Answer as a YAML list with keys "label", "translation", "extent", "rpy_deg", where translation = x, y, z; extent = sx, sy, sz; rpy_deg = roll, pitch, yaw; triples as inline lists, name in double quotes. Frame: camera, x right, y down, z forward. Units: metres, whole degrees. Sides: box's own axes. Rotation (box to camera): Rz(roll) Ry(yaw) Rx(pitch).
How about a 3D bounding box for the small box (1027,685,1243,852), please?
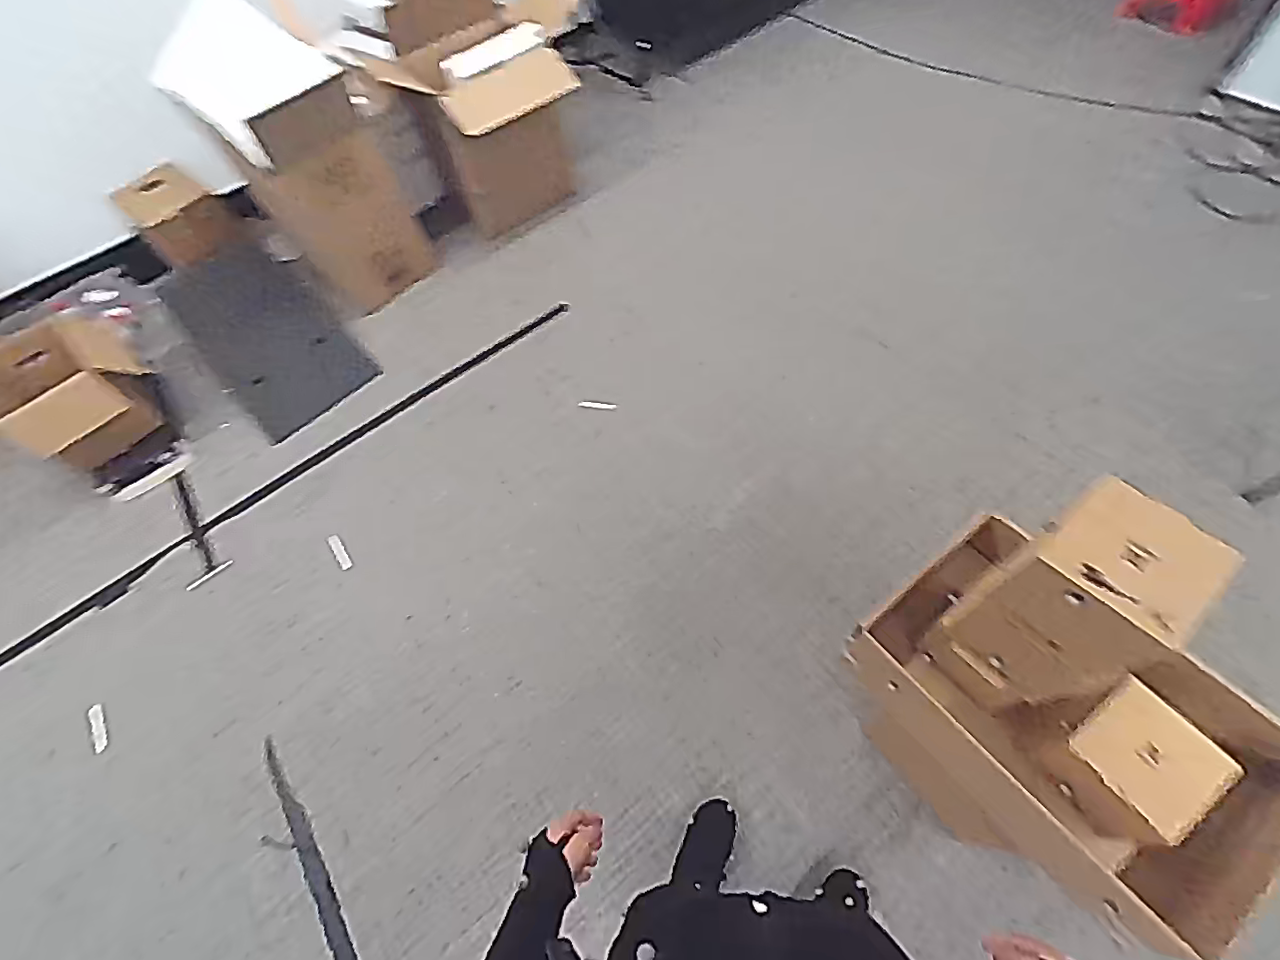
- label: "small box"
  translation: [0.799, 0.473, 0.897]
  extent: [0.179, 0.176, 0.168]
  rpy_deg: [-34, 60, -12]

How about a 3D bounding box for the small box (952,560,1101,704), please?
- label: "small box"
  translation: [0.645, 0.229, 0.868]
  extent: [0.179, 0.176, 0.168]
  rpy_deg: [-38, 62, -14]

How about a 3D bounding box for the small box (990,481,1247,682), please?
- label: "small box"
  translation: [0.623, 0.141, 0.731]
  extent: [0.179, 0.176, 0.168]
  rpy_deg: [-37, 61, -16]
